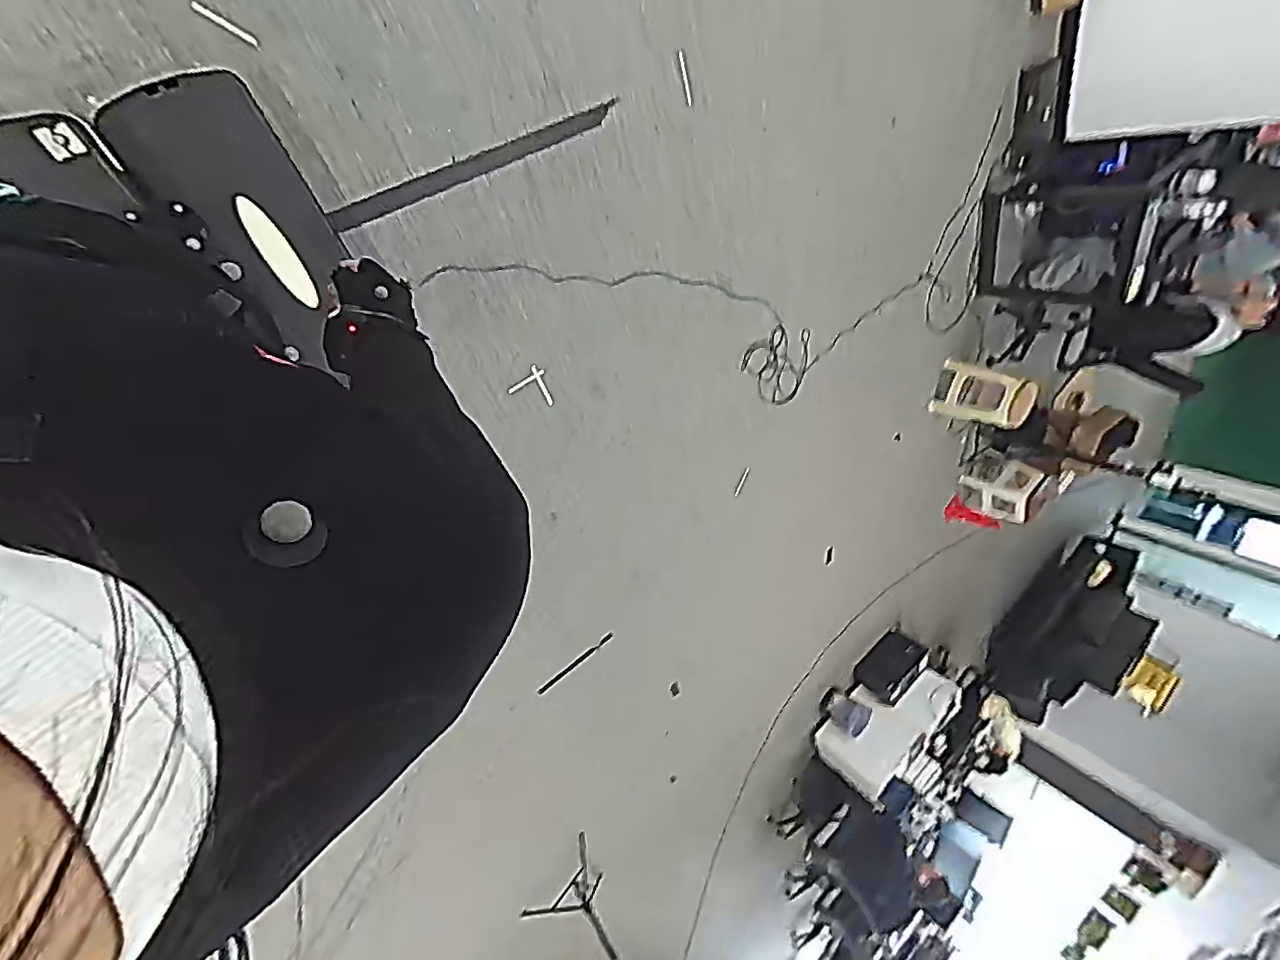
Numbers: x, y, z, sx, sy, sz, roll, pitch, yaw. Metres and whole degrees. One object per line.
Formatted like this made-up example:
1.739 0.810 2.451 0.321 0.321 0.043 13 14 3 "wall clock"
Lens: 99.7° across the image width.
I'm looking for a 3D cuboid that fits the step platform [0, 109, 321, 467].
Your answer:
-1.006 -0.357 1.129 0.286 0.204 0.684 -38 129 -19 "step platform"
